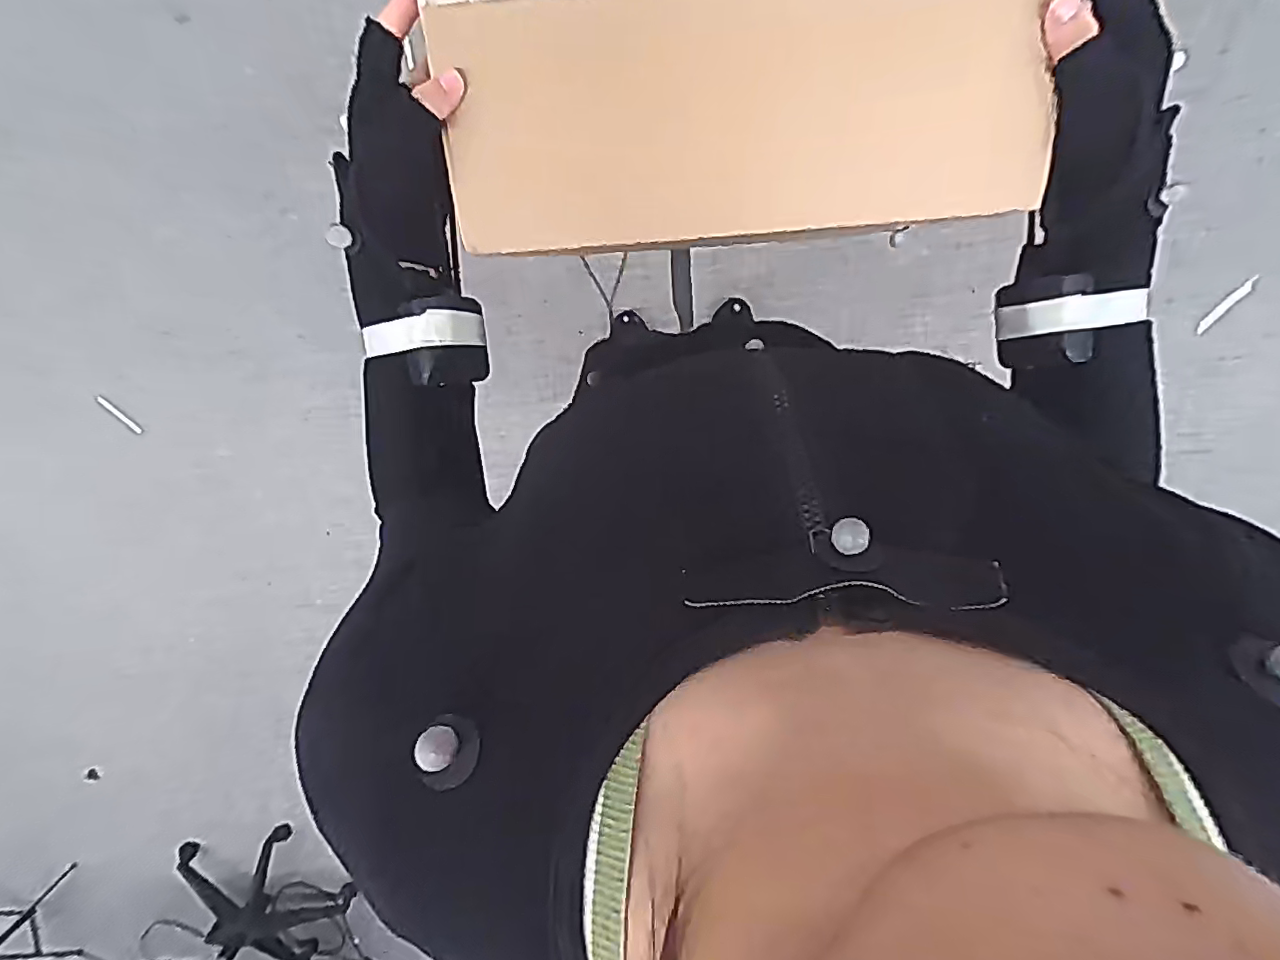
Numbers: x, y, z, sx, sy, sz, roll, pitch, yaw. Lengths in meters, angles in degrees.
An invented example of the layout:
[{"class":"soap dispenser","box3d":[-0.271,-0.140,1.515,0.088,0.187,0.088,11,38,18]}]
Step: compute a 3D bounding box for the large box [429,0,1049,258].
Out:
[{"class":"large box","box3d":[0.065,-0.381,0.477,0.408,0.320,0.320,-3,112,3]}]
